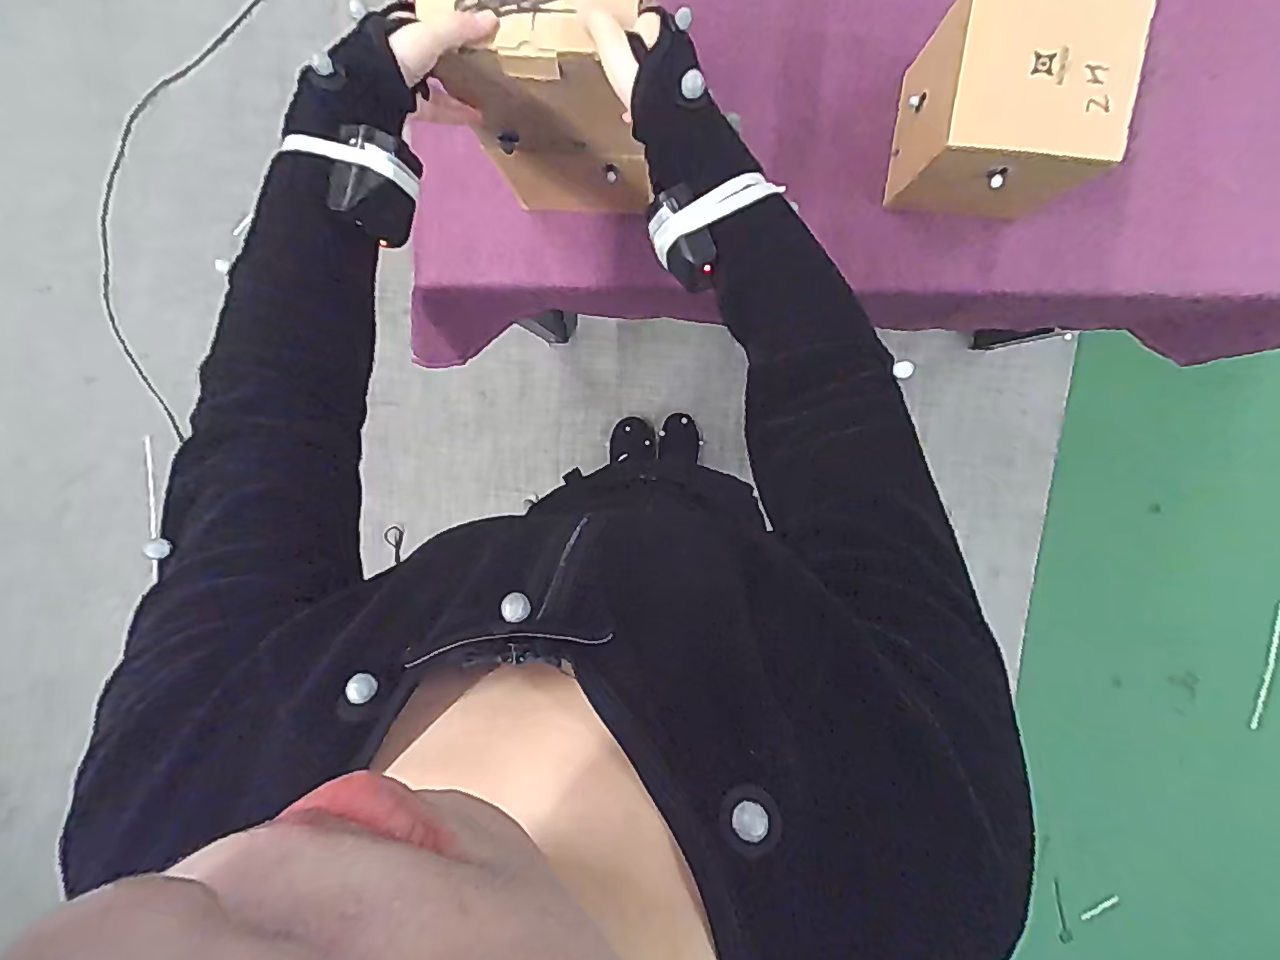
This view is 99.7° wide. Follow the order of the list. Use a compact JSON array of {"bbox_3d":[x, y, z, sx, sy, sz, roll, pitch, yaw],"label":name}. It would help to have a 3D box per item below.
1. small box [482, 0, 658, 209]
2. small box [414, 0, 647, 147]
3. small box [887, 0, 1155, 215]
[{"bbox_3d":[-0.072,-0.437,0.637,0.179,0.176,0.168,4,97,2],"label":"small box"},{"bbox_3d":[-0.080,-0.417,0.469,0.168,0.176,0.179,3,98,1],"label":"small box"},{"bbox_3d":[0.405,-0.418,0.610,0.179,0.176,0.168,8,98,2],"label":"small box"}]
